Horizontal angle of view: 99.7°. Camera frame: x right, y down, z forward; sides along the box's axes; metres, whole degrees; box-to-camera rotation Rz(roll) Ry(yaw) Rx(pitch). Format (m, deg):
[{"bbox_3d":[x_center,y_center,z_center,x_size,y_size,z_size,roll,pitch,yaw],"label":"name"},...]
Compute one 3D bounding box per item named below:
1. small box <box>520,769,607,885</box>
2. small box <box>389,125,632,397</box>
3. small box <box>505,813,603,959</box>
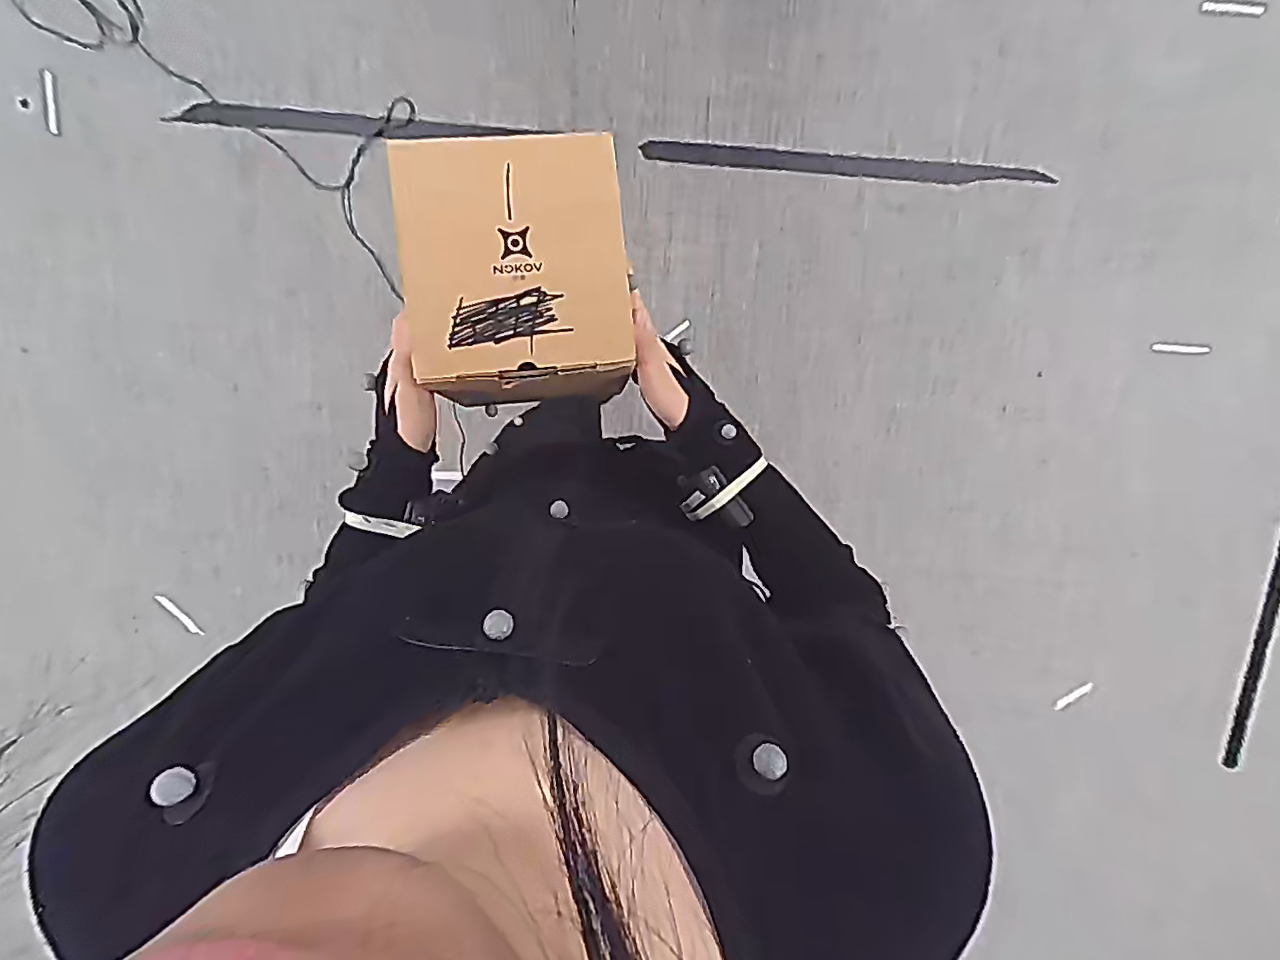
[{"bbox_3d":[-0.167,0.777,1.214,0.179,0.176,0.168,2,98,0],"label":"small box"},{"bbox_3d":[-0.099,-0.172,0.477,0.168,0.176,0.179,-6,90,-6],"label":"small box"},{"bbox_3d":[-0.160,0.793,1.053,0.168,0.176,0.179,3,97,-1],"label":"small box"}]
